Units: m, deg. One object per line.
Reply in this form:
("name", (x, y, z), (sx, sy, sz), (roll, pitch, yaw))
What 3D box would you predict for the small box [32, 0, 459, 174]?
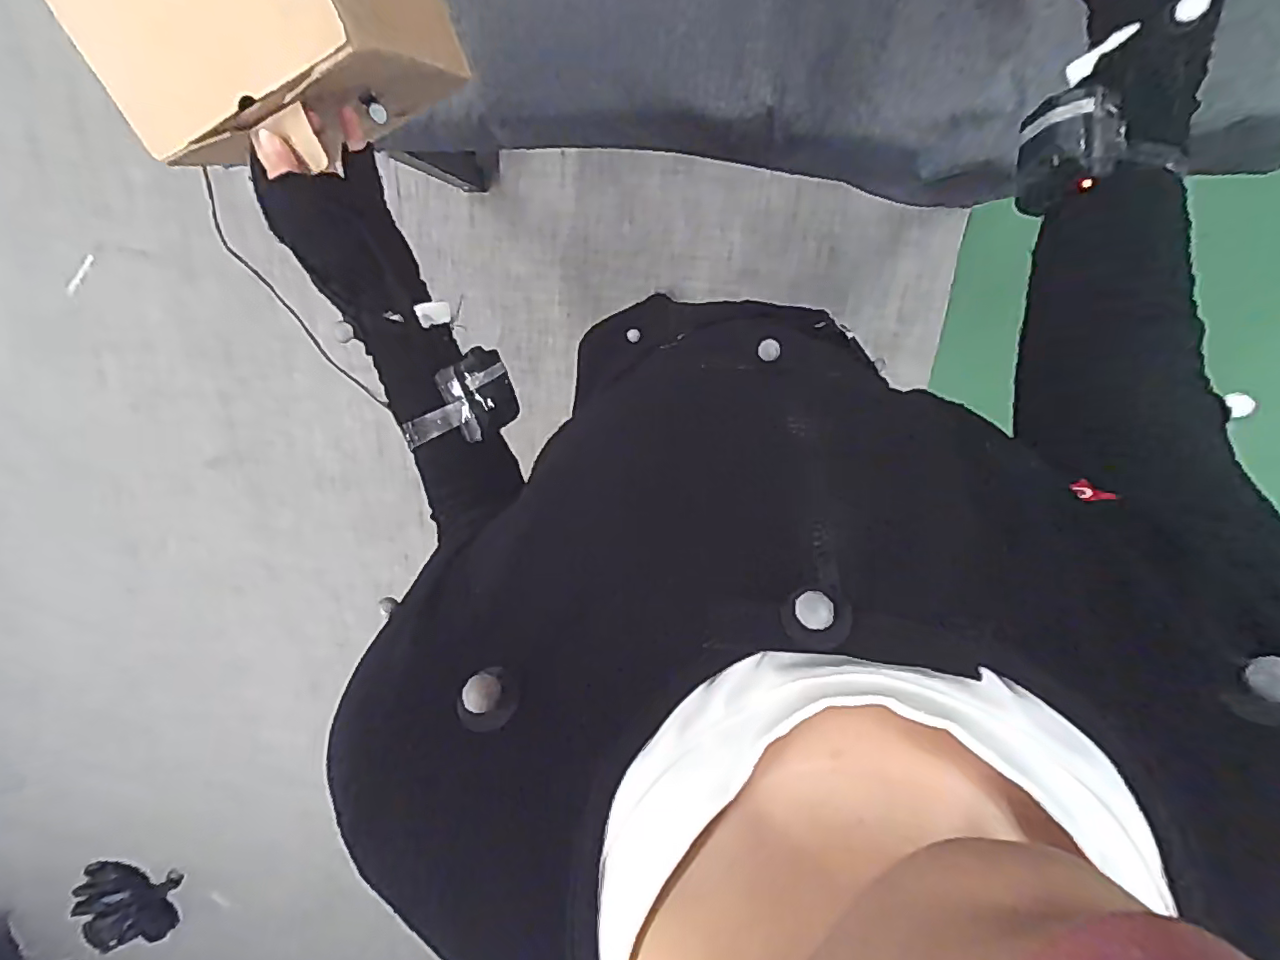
("small box", (-0.251, -0.325, 0.351), (0.168, 0.176, 0.179), (-16, 115, 17))
